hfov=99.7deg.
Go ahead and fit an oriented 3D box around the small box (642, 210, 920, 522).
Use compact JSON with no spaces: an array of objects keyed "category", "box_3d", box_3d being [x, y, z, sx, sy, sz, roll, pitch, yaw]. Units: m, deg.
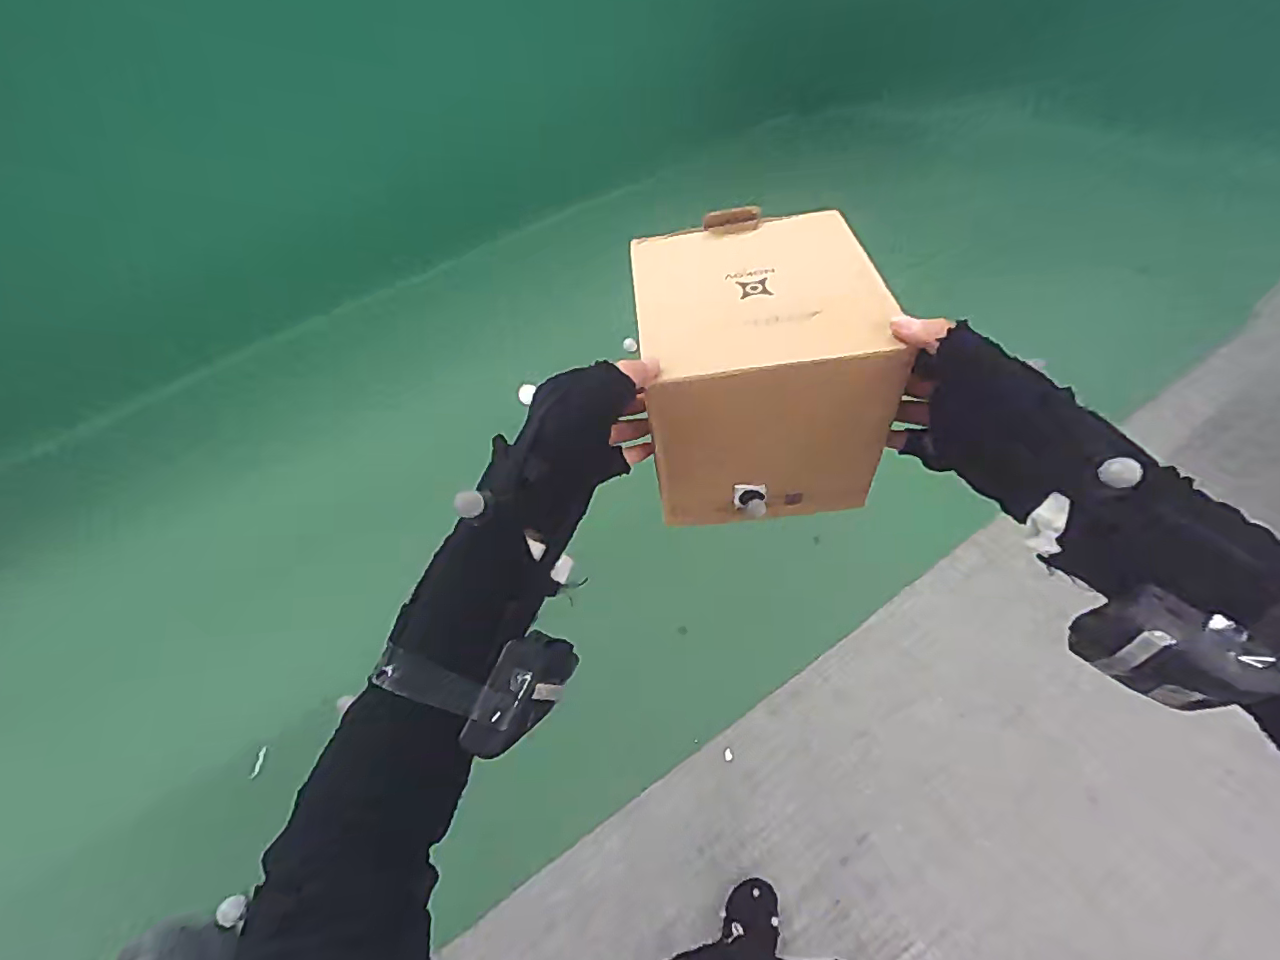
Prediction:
[{"category":"small box","box_3d":[0.092,-0.088,0.437,0.168,0.176,0.179,-6,51,5]}]
